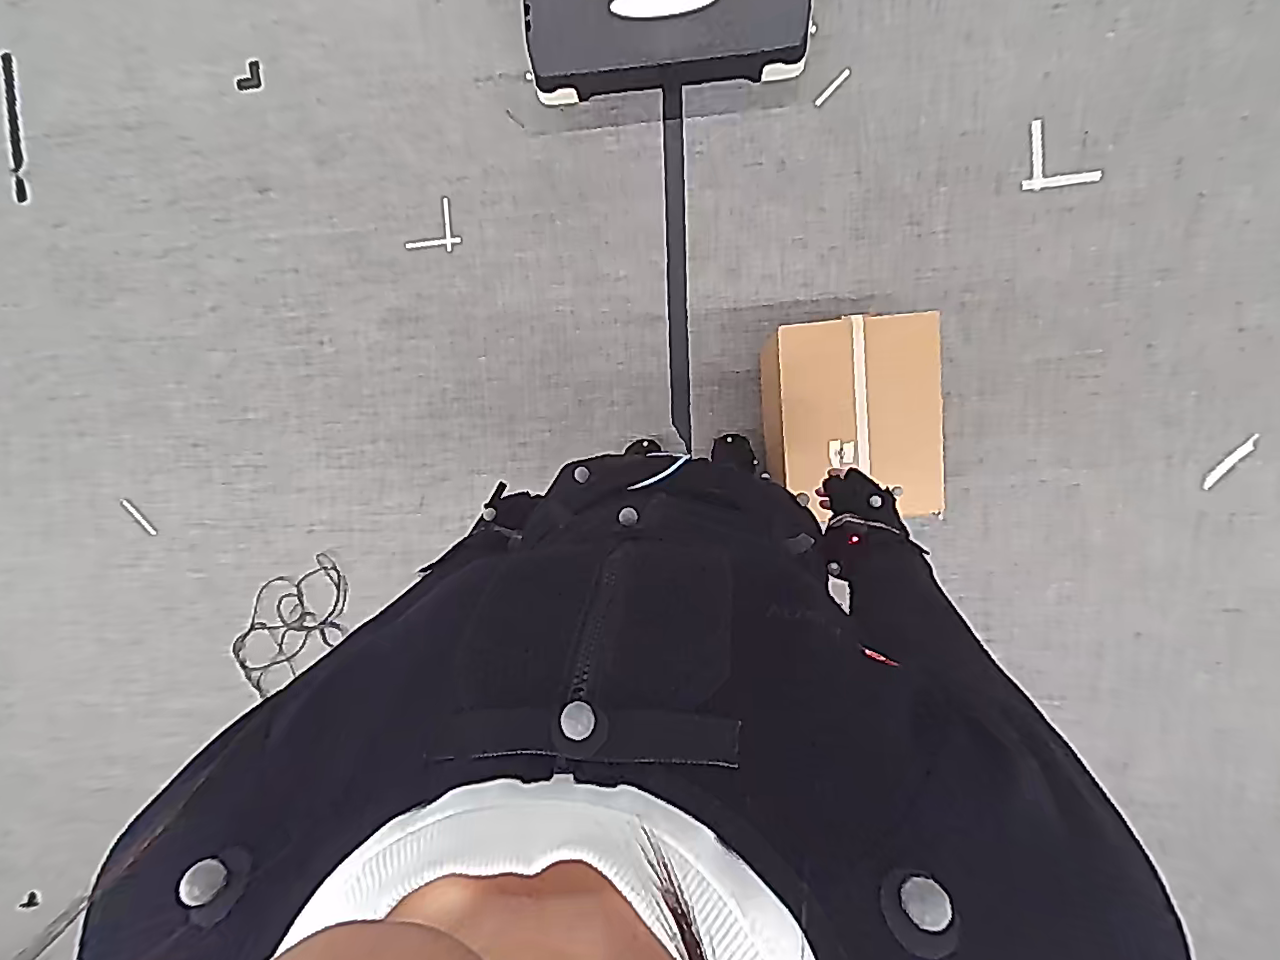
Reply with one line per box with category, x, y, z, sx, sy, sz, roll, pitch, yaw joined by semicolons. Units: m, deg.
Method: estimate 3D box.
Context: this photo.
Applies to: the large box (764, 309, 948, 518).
large box;0.469;-0.144;1.238;0.320;0.320;0.408;-4;96;7
